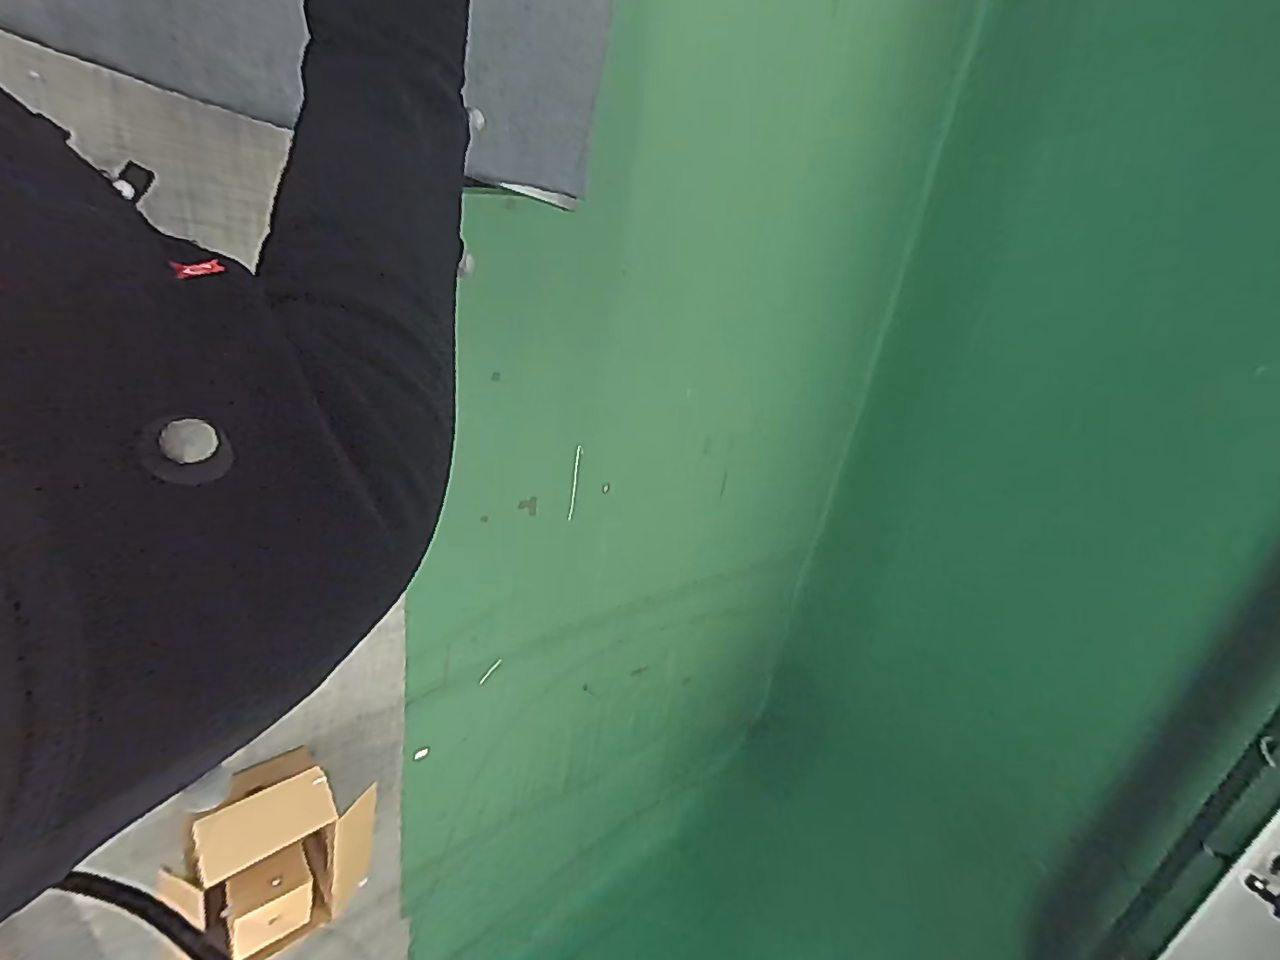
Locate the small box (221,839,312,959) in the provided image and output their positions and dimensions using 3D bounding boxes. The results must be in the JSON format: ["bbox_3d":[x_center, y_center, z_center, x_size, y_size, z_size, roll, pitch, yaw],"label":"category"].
[{"bbox_3d":[-1.013,1.135,1.463,0.179,0.176,0.168,-6,115,-46],"label":"small box"}]
